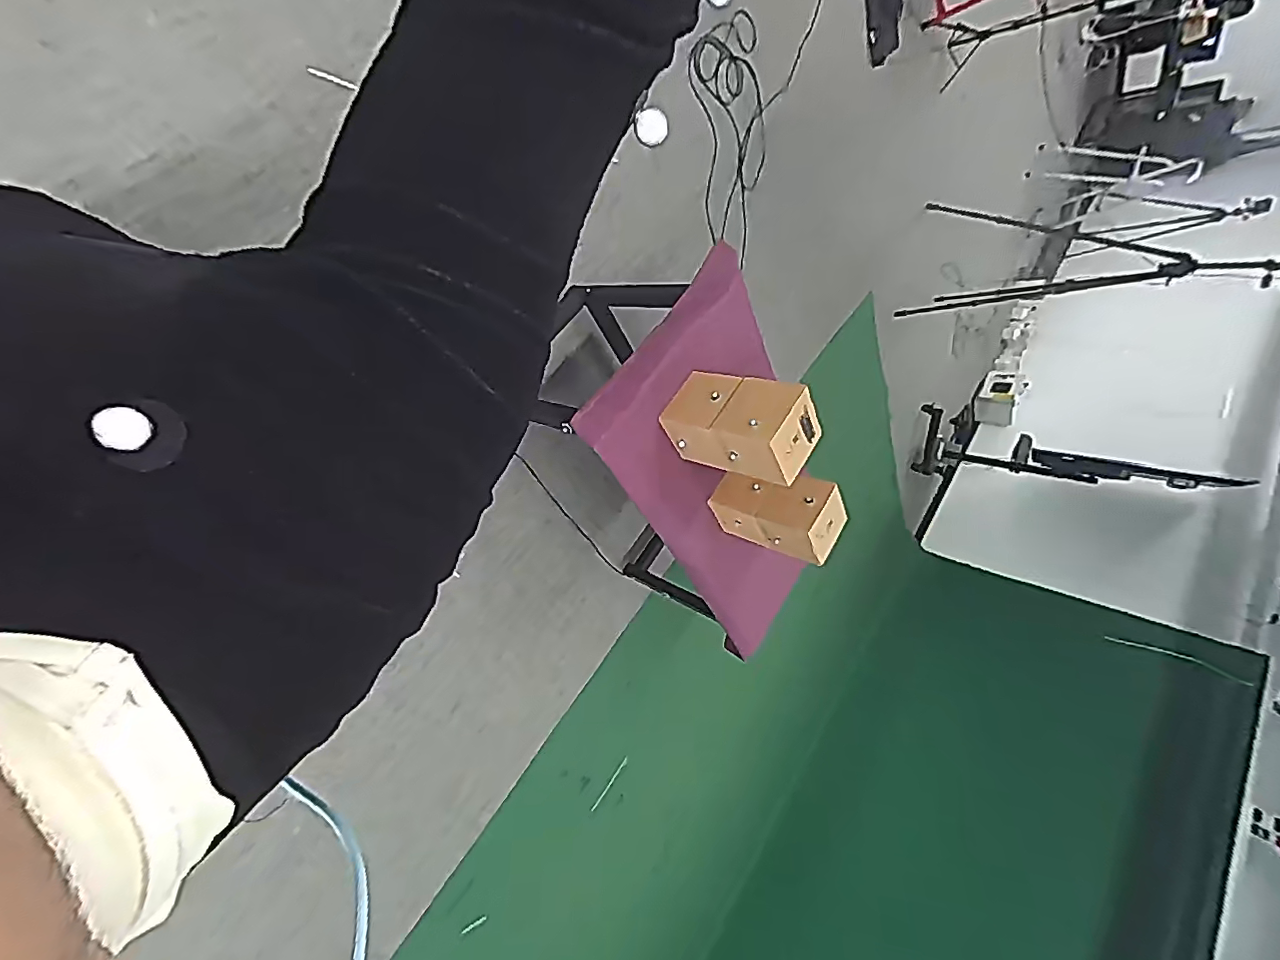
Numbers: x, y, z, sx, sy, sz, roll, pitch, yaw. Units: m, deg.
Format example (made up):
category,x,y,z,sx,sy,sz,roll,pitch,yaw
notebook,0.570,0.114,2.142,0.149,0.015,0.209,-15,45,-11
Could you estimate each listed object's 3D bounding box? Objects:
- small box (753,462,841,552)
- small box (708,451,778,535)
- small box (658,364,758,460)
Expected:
category,x,y,z,sx,sy,sz,roll,pitch,yaw
small box,0.446,0.071,1.540,0.179,0.176,0.168,-54,135,-20
small box,0.326,0.036,1.646,0.179,0.176,0.168,-55,136,-19
small box,0.176,-0.183,1.402,0.179,0.176,0.168,-54,136,-18
